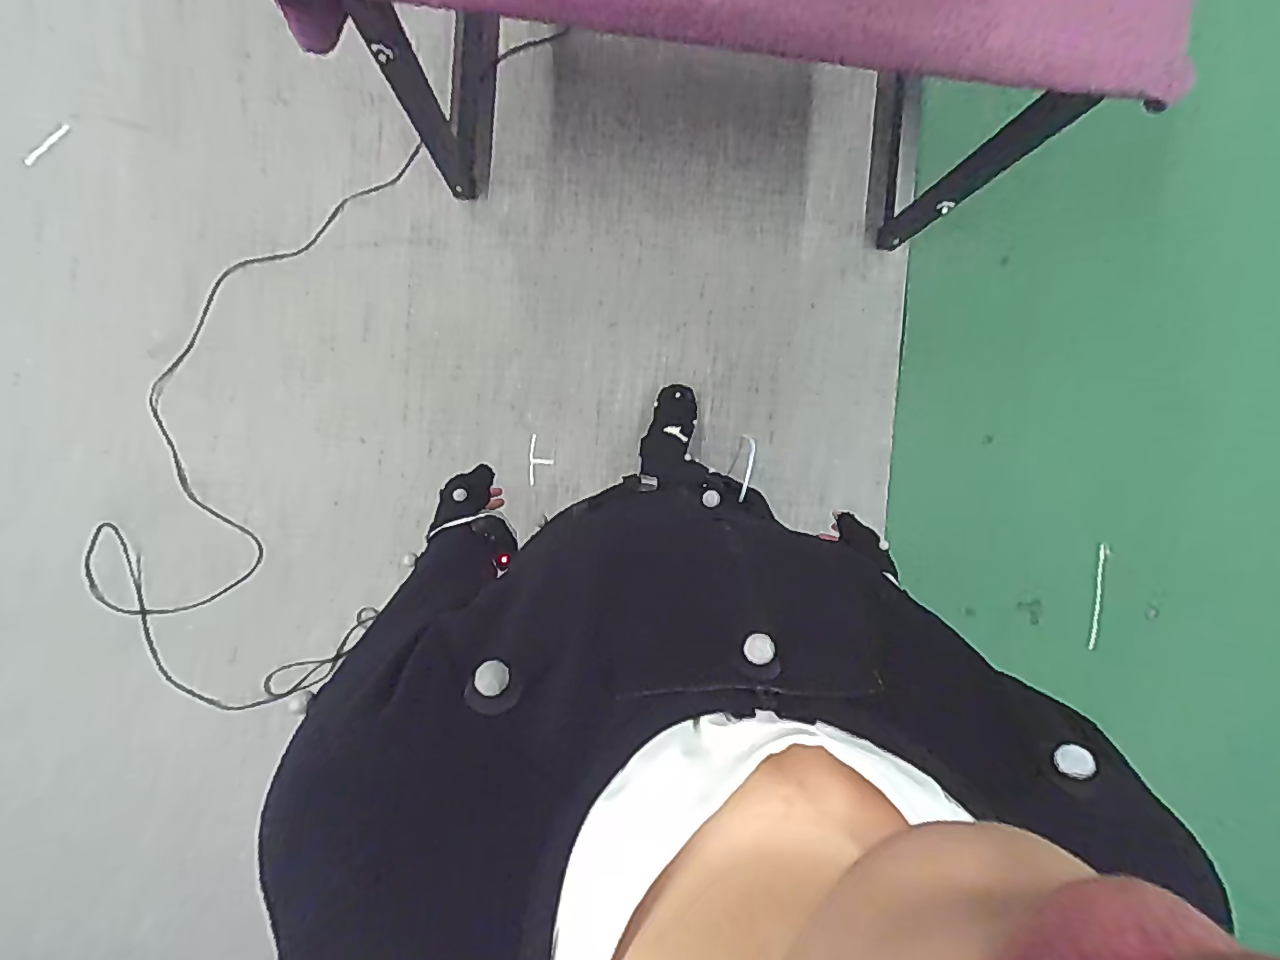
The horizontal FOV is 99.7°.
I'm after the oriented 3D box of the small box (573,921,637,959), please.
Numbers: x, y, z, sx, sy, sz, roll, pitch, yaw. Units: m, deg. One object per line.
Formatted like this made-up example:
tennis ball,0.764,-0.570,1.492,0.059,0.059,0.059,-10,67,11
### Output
small box,-0.094,1.311,1.414,0.168,0.176,0.179,3,95,-4
